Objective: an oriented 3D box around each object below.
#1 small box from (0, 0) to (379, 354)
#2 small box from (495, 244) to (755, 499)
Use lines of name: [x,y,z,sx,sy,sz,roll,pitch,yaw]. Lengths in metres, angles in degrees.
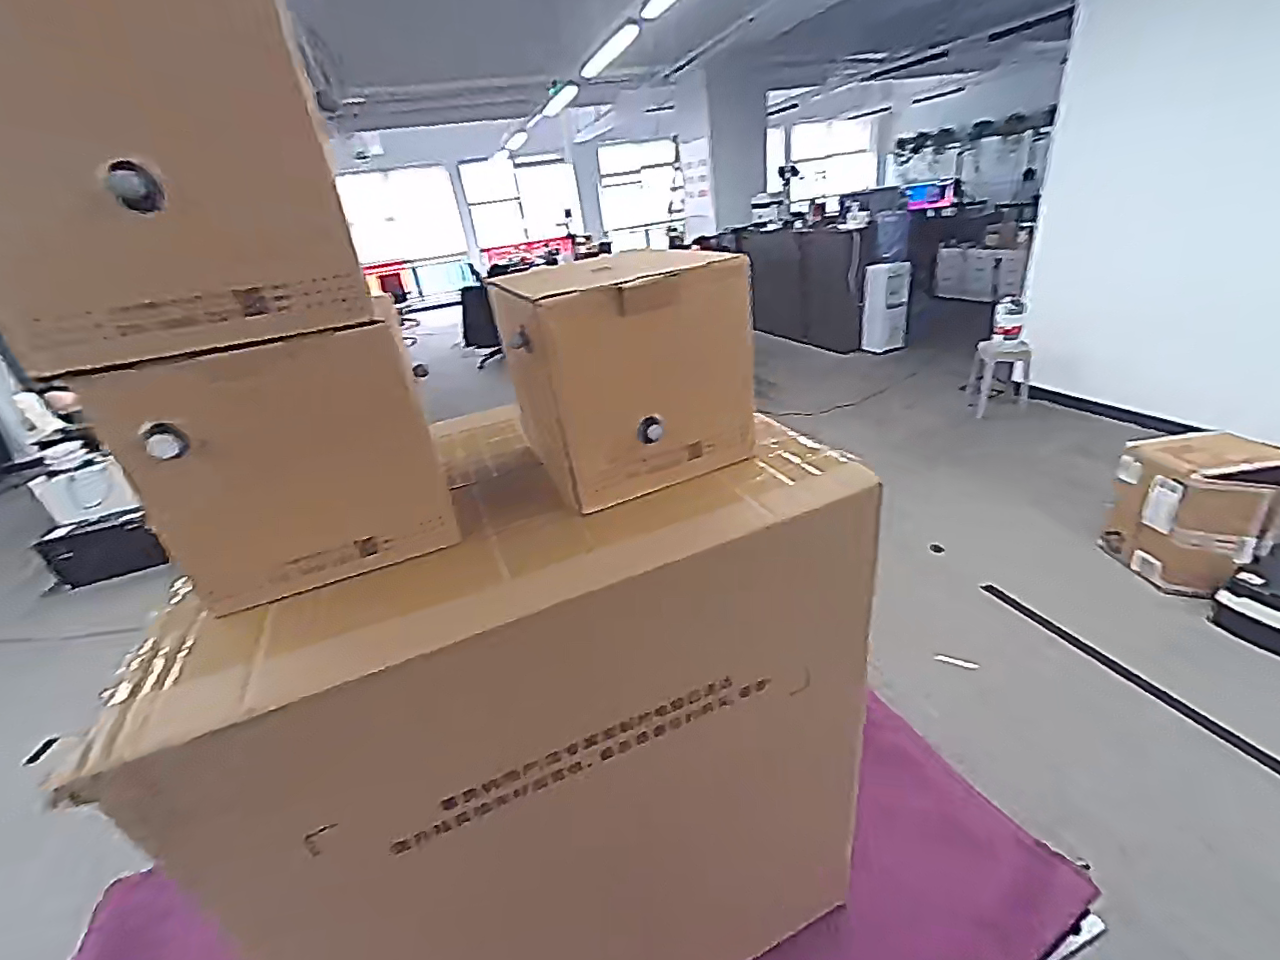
small box: [-0.272,-0.182,0.332,0.168,0.176,0.179,-17,28,-21]
small box: [-0.015,-0.105,0.478,0.168,0.176,0.179,-19,30,-18]
